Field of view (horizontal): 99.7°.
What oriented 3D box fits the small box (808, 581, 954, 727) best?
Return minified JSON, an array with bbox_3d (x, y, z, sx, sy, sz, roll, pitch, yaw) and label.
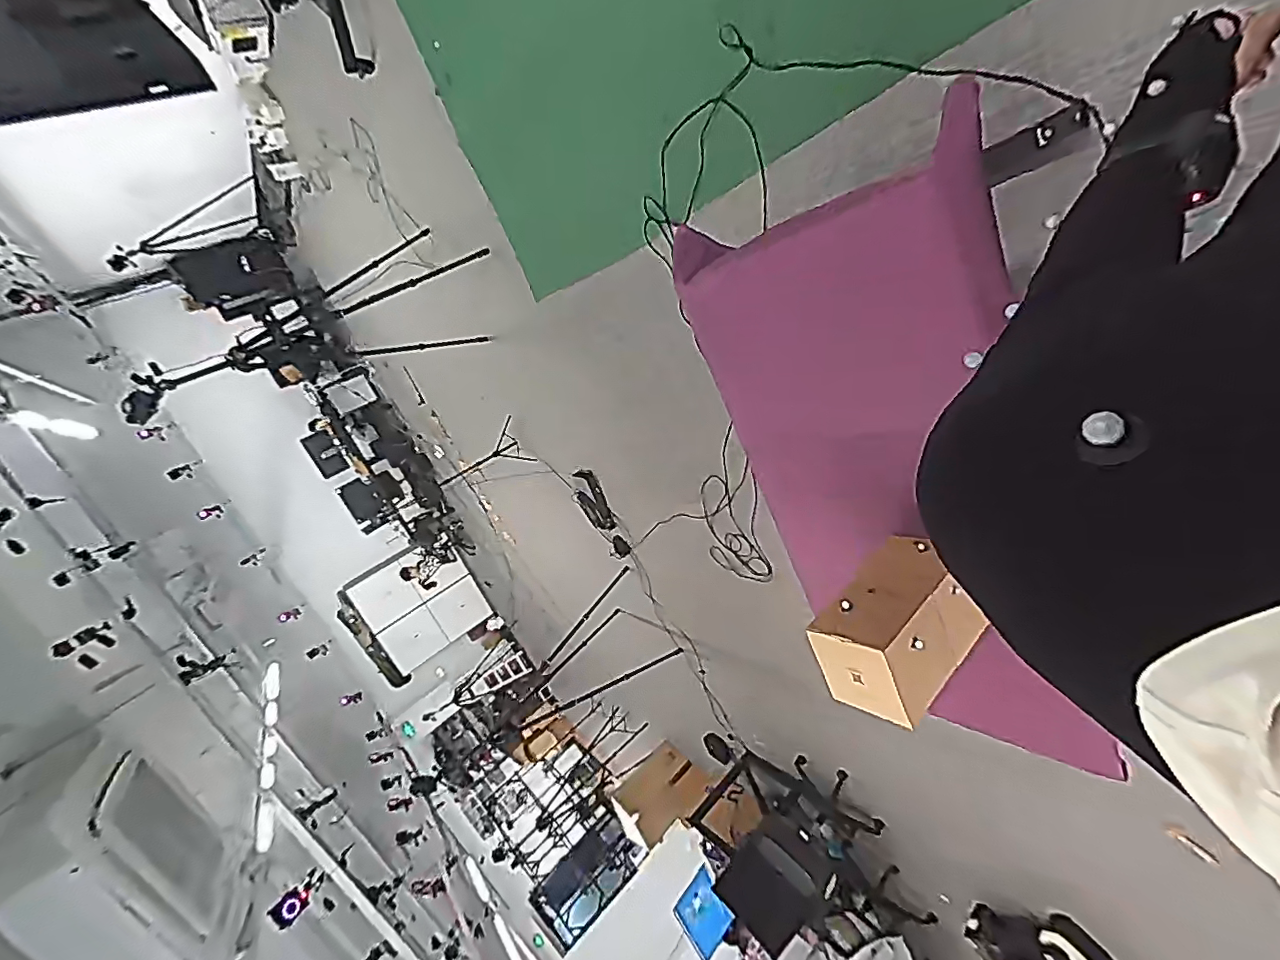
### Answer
[{"bbox_3d":[0.450,0.311,1.009,0.168,0.176,0.179,1,120,57],"label":"small box"}]
